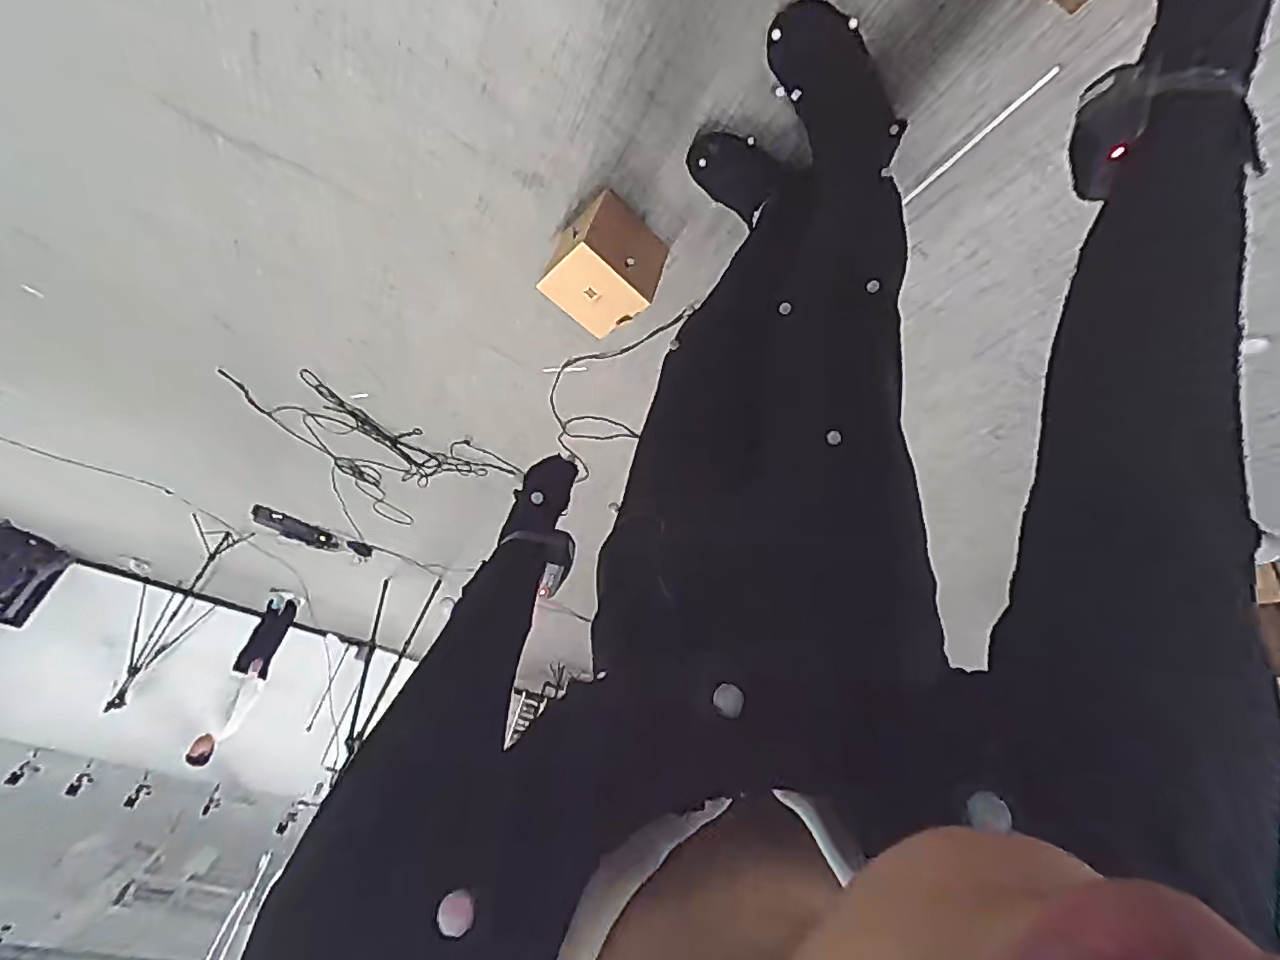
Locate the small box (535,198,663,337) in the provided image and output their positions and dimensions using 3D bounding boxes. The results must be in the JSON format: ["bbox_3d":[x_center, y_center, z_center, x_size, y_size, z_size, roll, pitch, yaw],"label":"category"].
[{"bbox_3d":[-0.078,-0.432,1.093,0.179,0.176,0.168,33,146,-30],"label":"small box"}]
